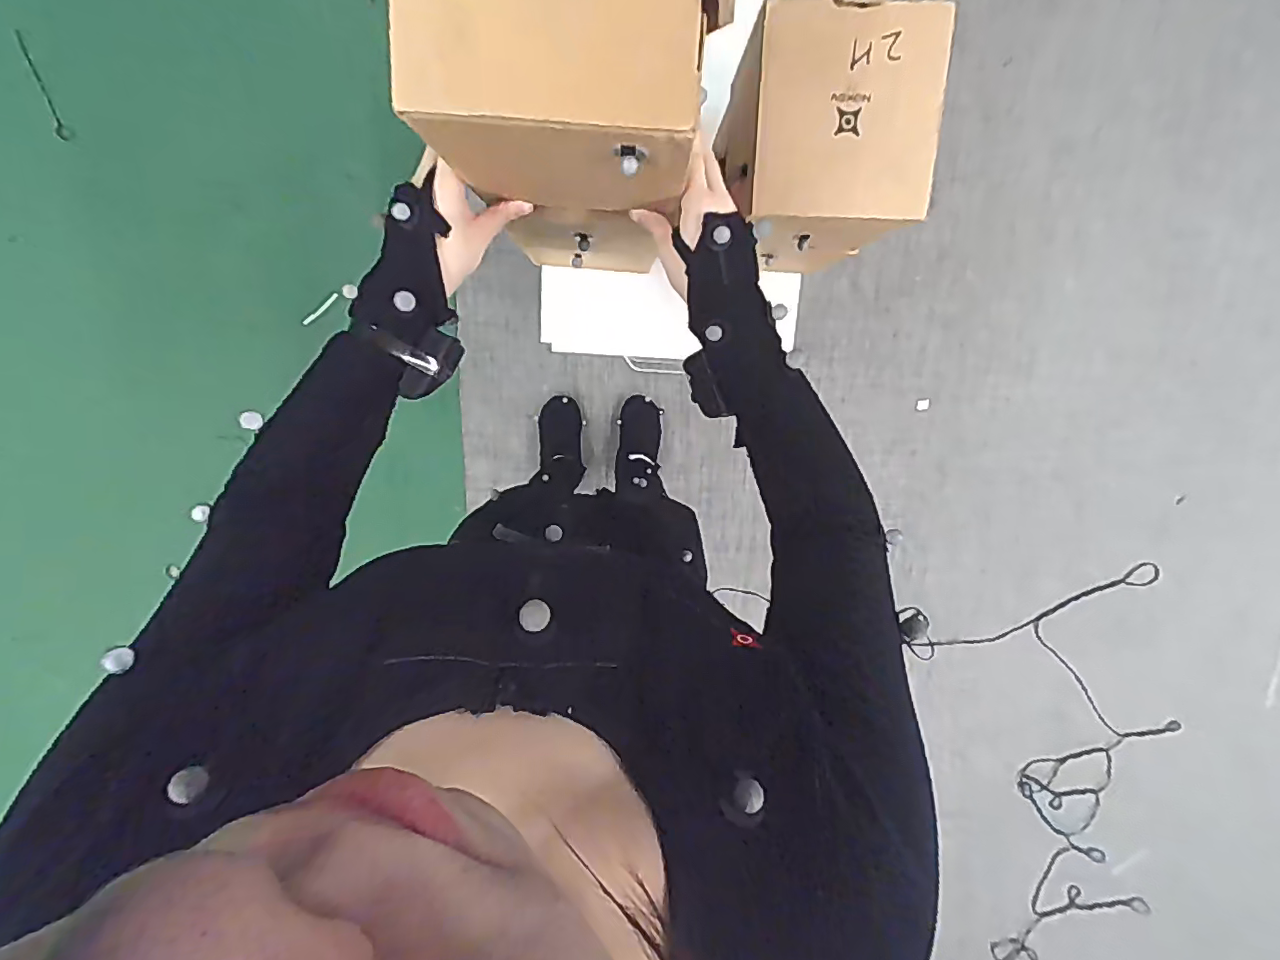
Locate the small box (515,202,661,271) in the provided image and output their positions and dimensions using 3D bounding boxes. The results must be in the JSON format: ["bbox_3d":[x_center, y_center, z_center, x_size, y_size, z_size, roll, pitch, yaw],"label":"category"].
[{"bbox_3d":[-0.062,-0.379,0.718,0.179,0.176,0.168,3,104,-4],"label":"small box"}]

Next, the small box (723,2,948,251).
[{"bbox_3d":[0.184,-0.347,0.568,0.168,0.176,0.179,1,103,-2],"label":"small box"}]

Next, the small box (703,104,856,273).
[{"bbox_3d":[0.185,-0.381,0.729,0.179,0.176,0.168,3,104,-3],"label":"small box"}]

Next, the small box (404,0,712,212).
[{"bbox_3d":[-0.045,-0.302,0.379,0.179,0.176,0.168,3,101,-2],"label":"small box"}]
